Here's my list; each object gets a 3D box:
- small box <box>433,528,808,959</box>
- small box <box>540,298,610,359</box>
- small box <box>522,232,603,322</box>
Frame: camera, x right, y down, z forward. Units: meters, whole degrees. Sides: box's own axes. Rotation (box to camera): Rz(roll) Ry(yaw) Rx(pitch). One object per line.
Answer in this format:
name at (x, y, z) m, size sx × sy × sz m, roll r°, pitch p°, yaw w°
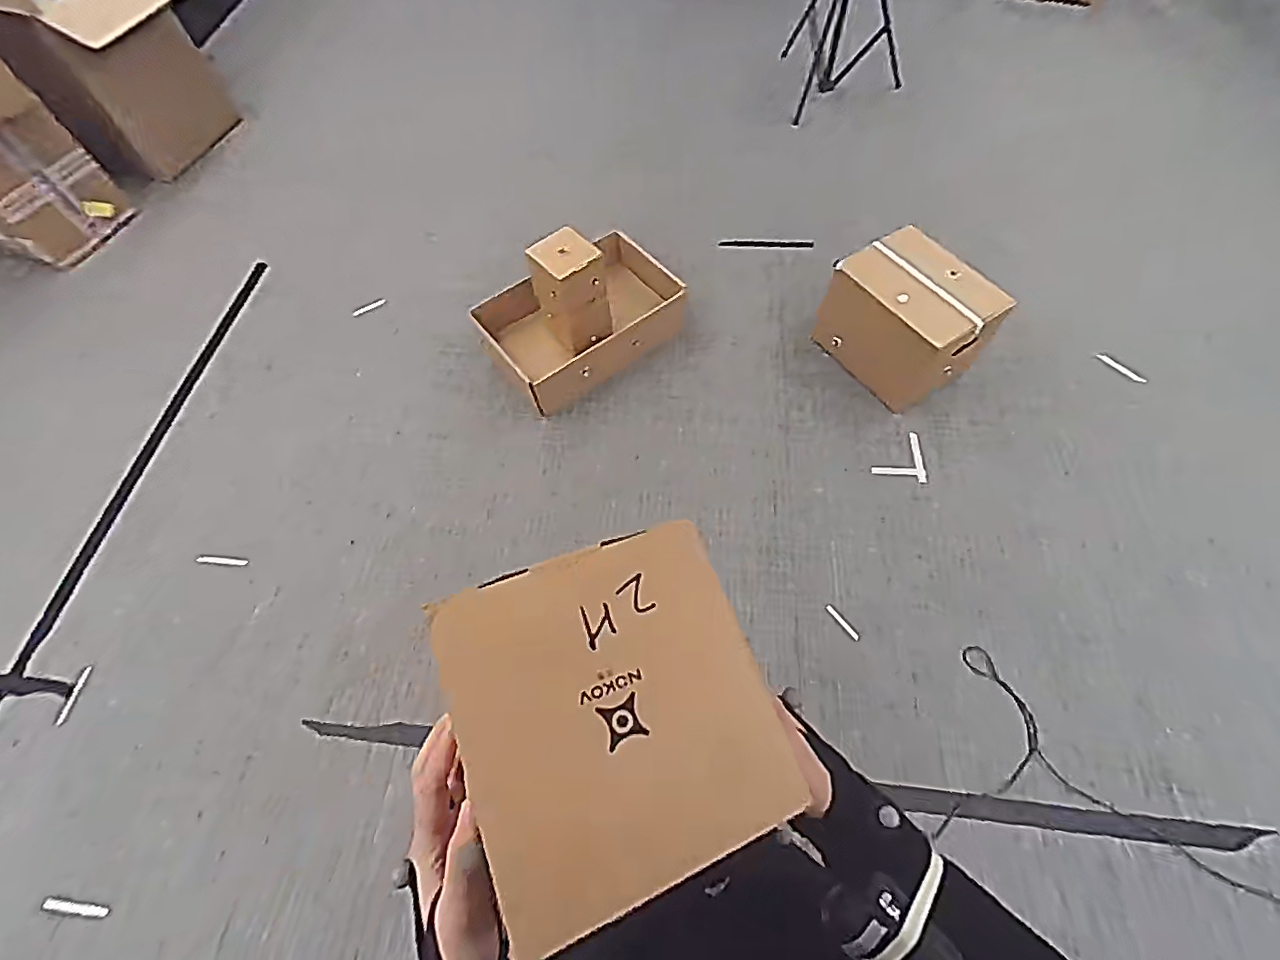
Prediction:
small box at (-0.026, 0.156, 0.366) m, size 0.168 × 0.176 × 0.179 m, roll -16°, pitch 72°, yaw -19°
small box at (-0.216, -0.539, 1.799) m, size 0.168 × 0.176 × 0.179 m, roll -36°, pitch 67°, yaw -16°
small box at (-0.228, -0.614, 1.655) m, size 0.168 × 0.176 × 0.179 m, roll -39°, pitch 66°, yaw -18°
